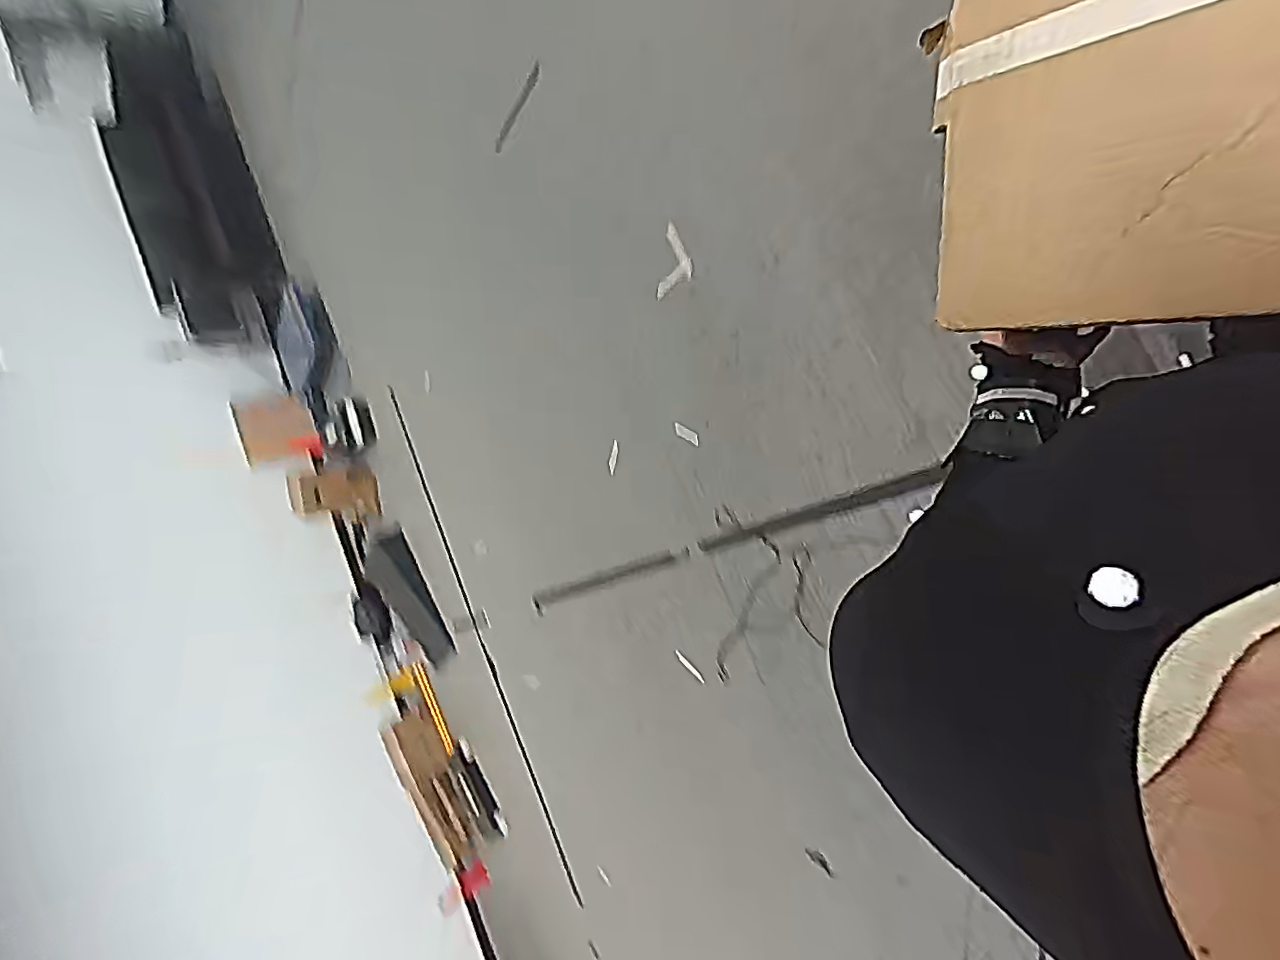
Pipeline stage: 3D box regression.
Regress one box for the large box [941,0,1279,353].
[{"bbox_3d":[0.438,-0.252,0.310,0.408,0.320,0.320,8,108,44],"label":"large box"}]
